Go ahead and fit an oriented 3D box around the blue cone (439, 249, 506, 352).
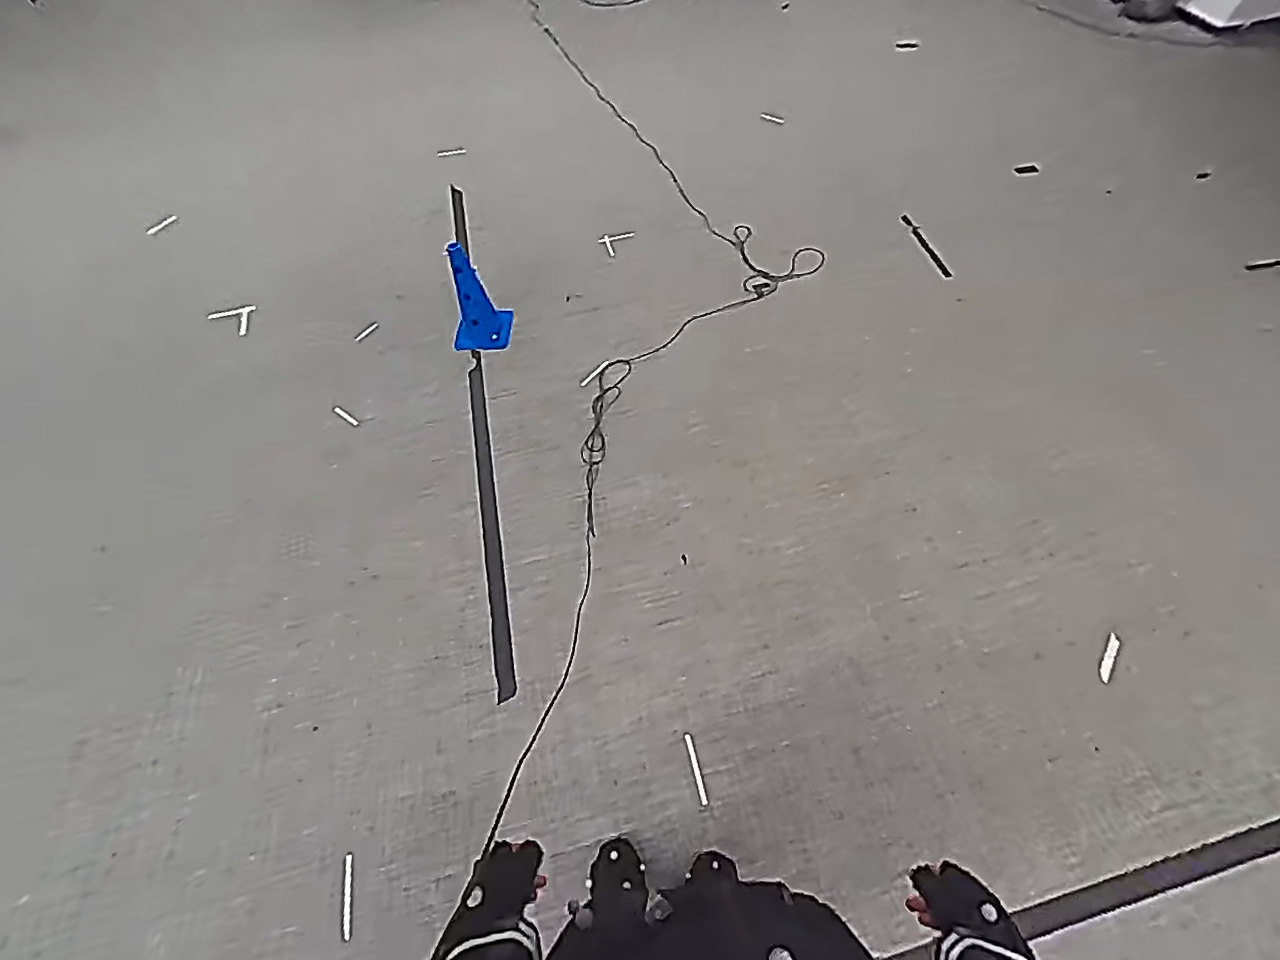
[{"bbox_3d":[-0.612,-0.637,1.894,0.192,0.380,0.193,1,59,4],"label":"blue cone"}]
